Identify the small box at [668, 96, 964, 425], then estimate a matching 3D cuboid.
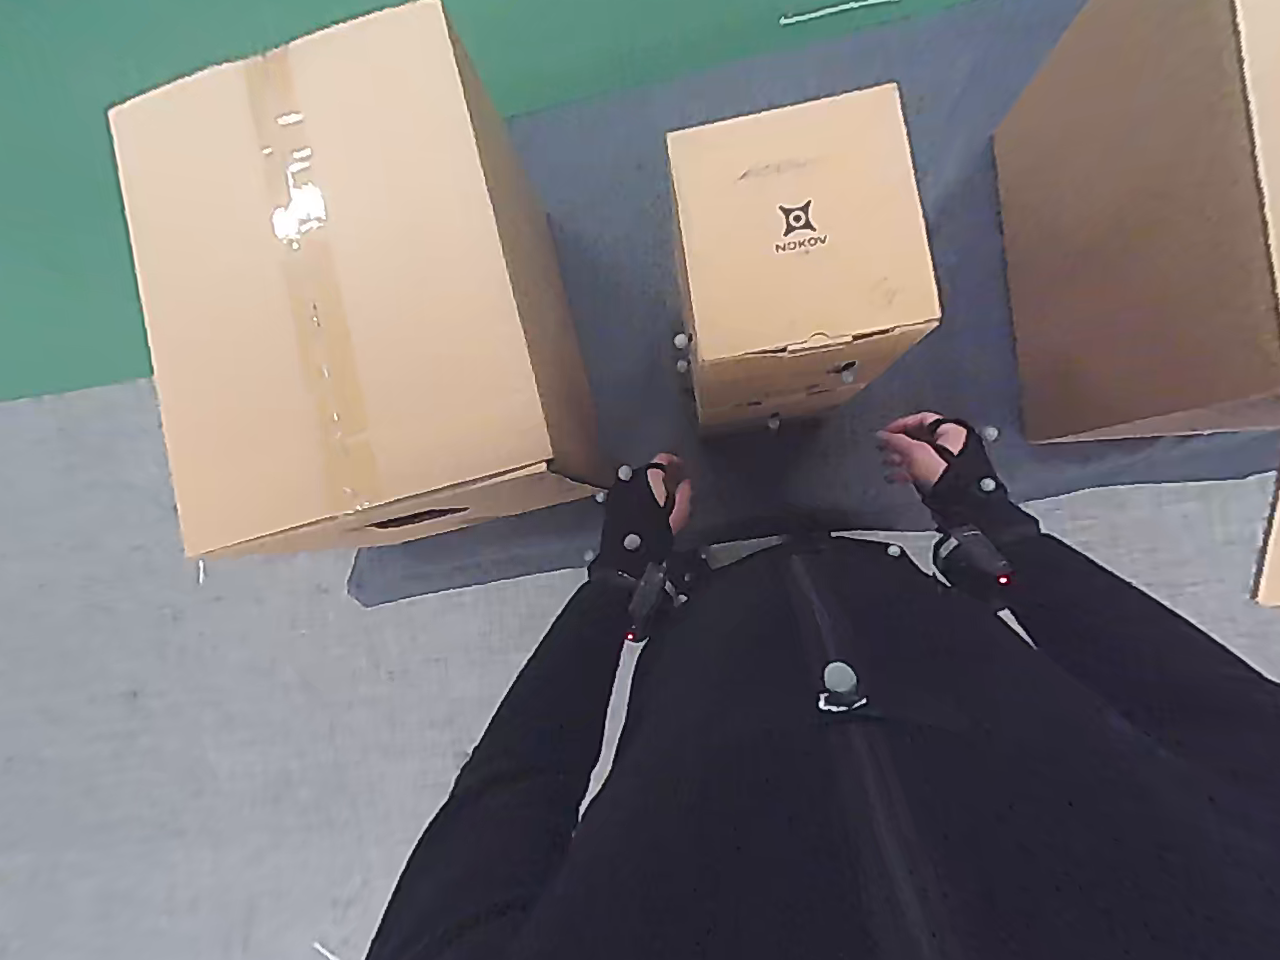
[{"bbox_3d":[0.120,-0.147,0.431,0.168,0.176,0.179,-10,84,5],"label":"small box"}]
